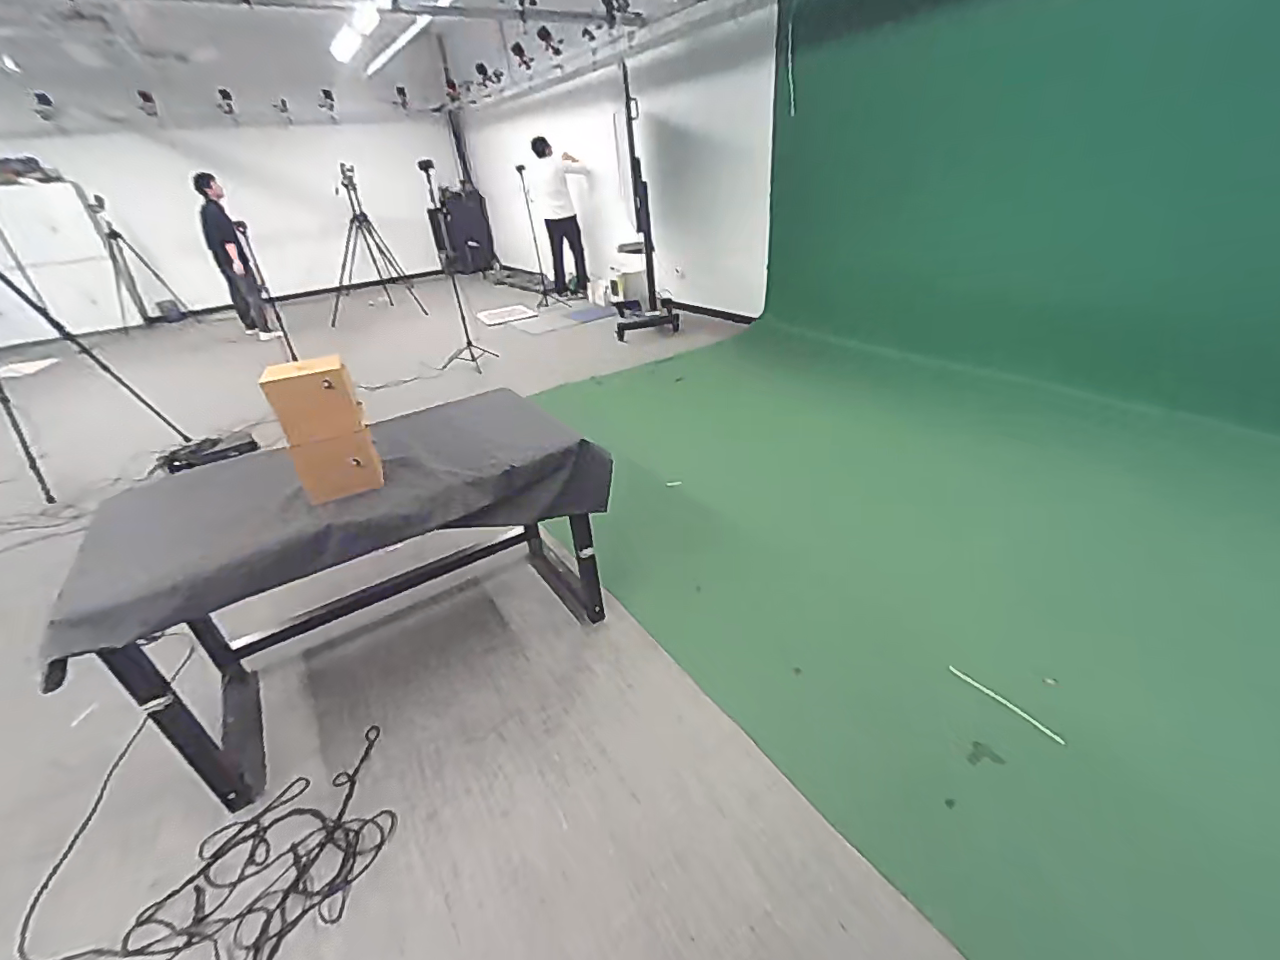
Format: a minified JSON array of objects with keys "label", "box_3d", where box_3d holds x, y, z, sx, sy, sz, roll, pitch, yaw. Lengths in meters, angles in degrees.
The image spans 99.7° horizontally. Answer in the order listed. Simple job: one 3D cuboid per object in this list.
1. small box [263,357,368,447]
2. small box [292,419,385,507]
[{"label":"small box","box_3d":[-0.808,-0.196,1.362,0.179,0.176,0.168,-17,30,-20]},{"label":"small box","box_3d":[-0.791,-0.053,1.438,0.179,0.176,0.168,-18,31,-19]}]
